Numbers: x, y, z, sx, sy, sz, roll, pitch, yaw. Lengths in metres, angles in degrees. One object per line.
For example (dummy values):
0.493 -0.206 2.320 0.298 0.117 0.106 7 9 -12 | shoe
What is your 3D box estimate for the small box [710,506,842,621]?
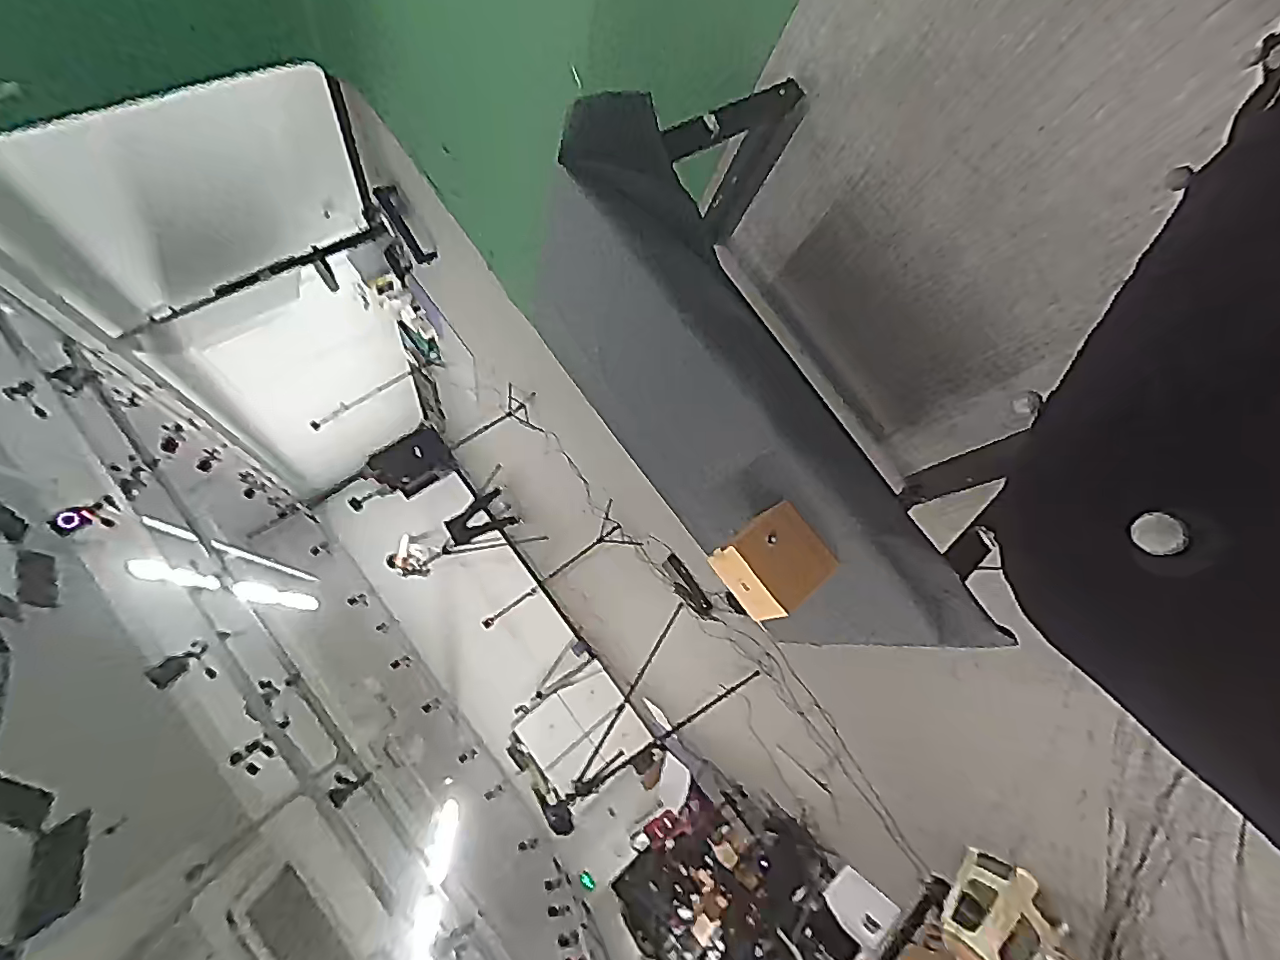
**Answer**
0.286 0.175 1.155 0.179 0.176 0.168 51 159 7 | small box
